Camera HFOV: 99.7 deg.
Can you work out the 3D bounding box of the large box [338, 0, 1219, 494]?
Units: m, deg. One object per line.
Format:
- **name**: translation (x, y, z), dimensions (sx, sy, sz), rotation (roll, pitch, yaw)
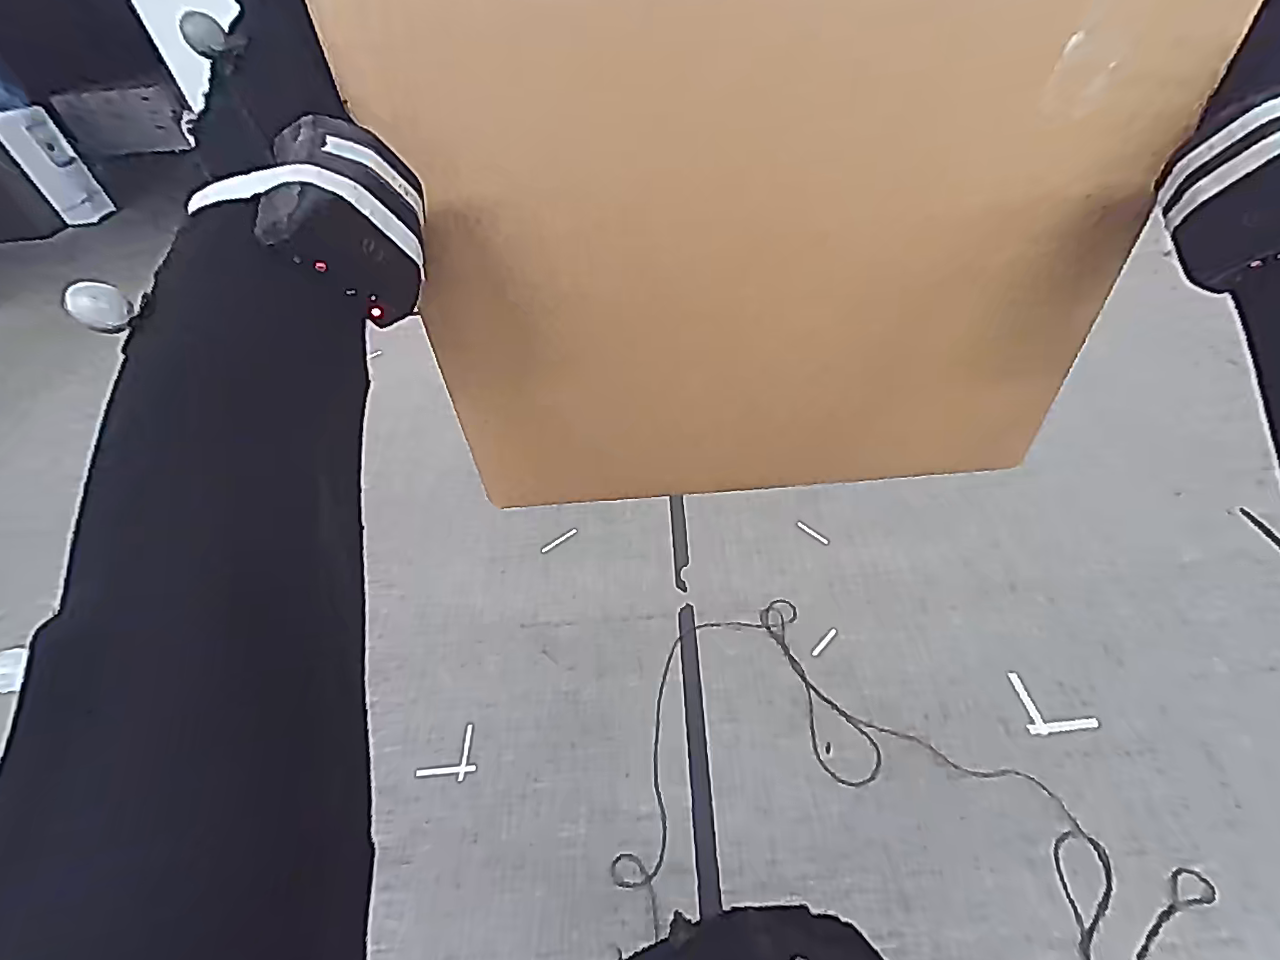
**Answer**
- **large box**: translation (0.066, -0.212, 0.428), dimensions (0.408, 0.320, 0.320), rotation (-4, 42, 0)
